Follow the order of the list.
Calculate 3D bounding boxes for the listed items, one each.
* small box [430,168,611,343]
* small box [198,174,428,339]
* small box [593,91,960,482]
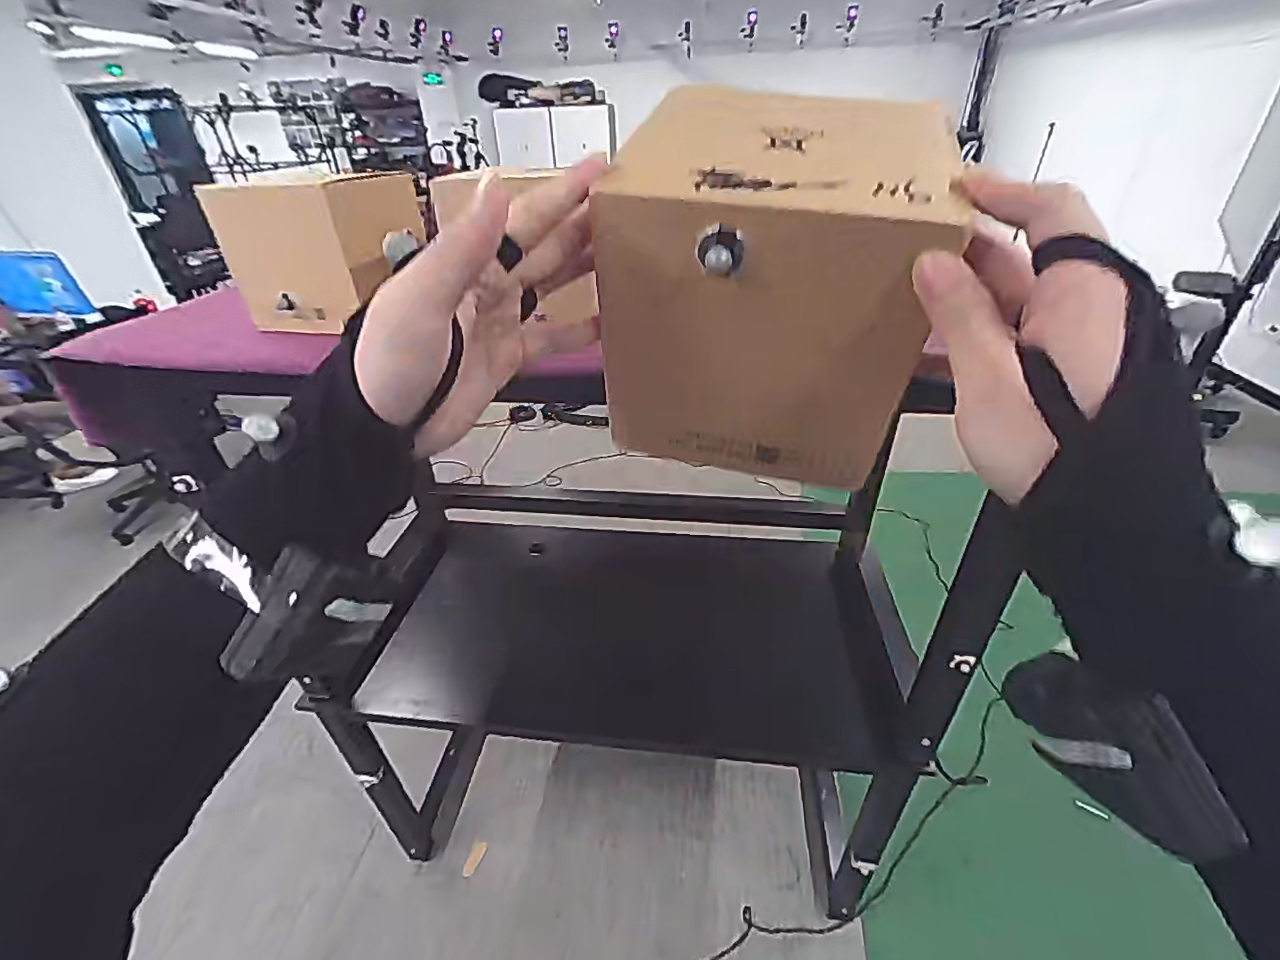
[{"bbox_3d":[-0.124,-0.278,0.659,0.168,0.176,0.179,4,34,9],"label":"small box"},{"bbox_3d":[-0.398,-0.293,0.700,0.168,0.176,0.179,4,34,11],"label":"small box"},{"bbox_3d":[0.079,-0.127,0.351,0.168,0.176,0.179,11,49,12],"label":"small box"}]
